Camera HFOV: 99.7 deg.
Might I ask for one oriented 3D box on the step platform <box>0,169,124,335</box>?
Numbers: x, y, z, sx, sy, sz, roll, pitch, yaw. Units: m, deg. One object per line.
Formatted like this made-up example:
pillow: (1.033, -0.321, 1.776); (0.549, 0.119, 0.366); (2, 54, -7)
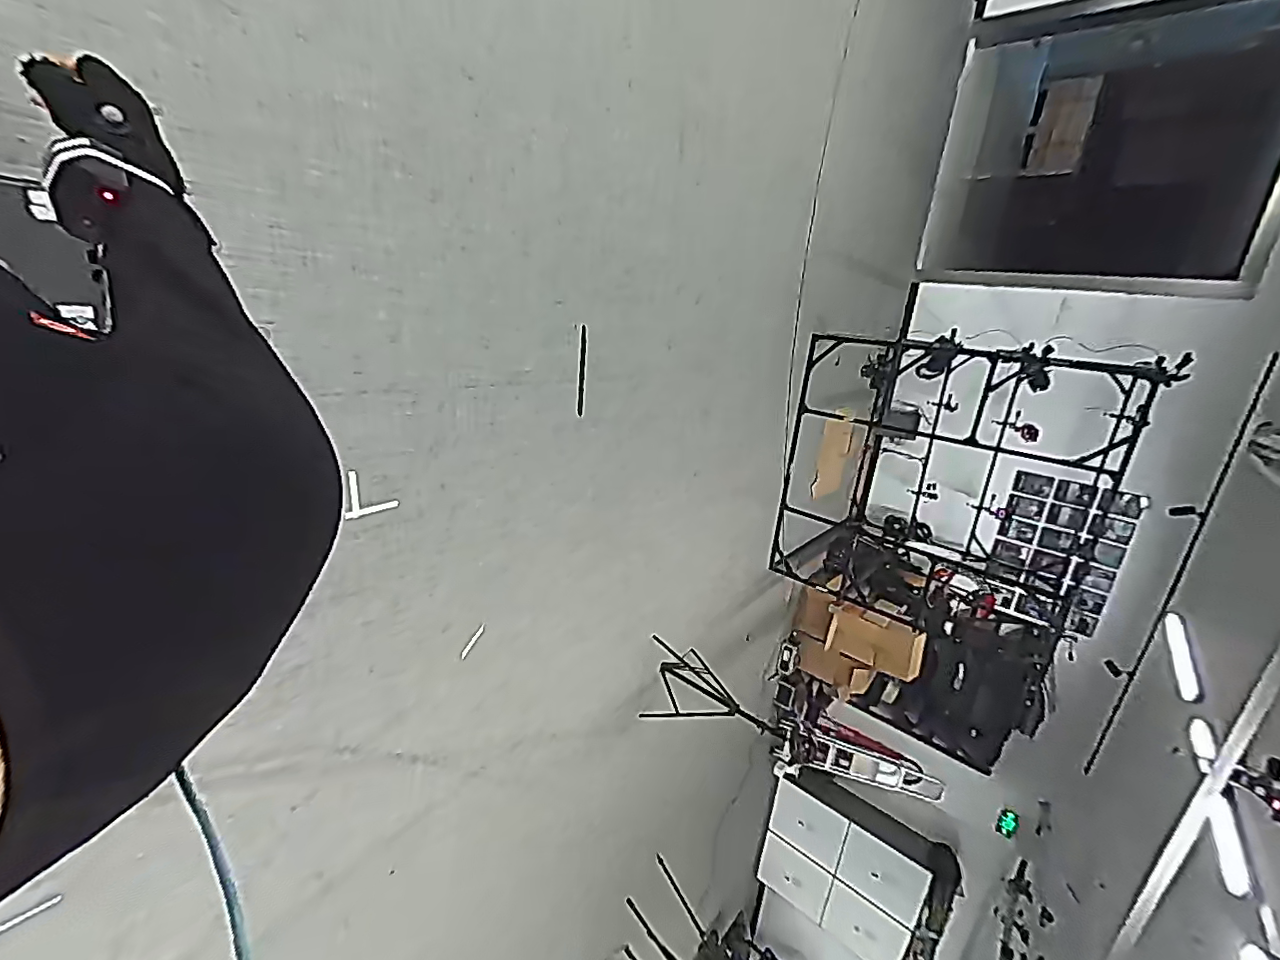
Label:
step platform: (-1.295, -0.383, 0.859); (0.684, 0.204, 0.286); (-19, 120, -49)
